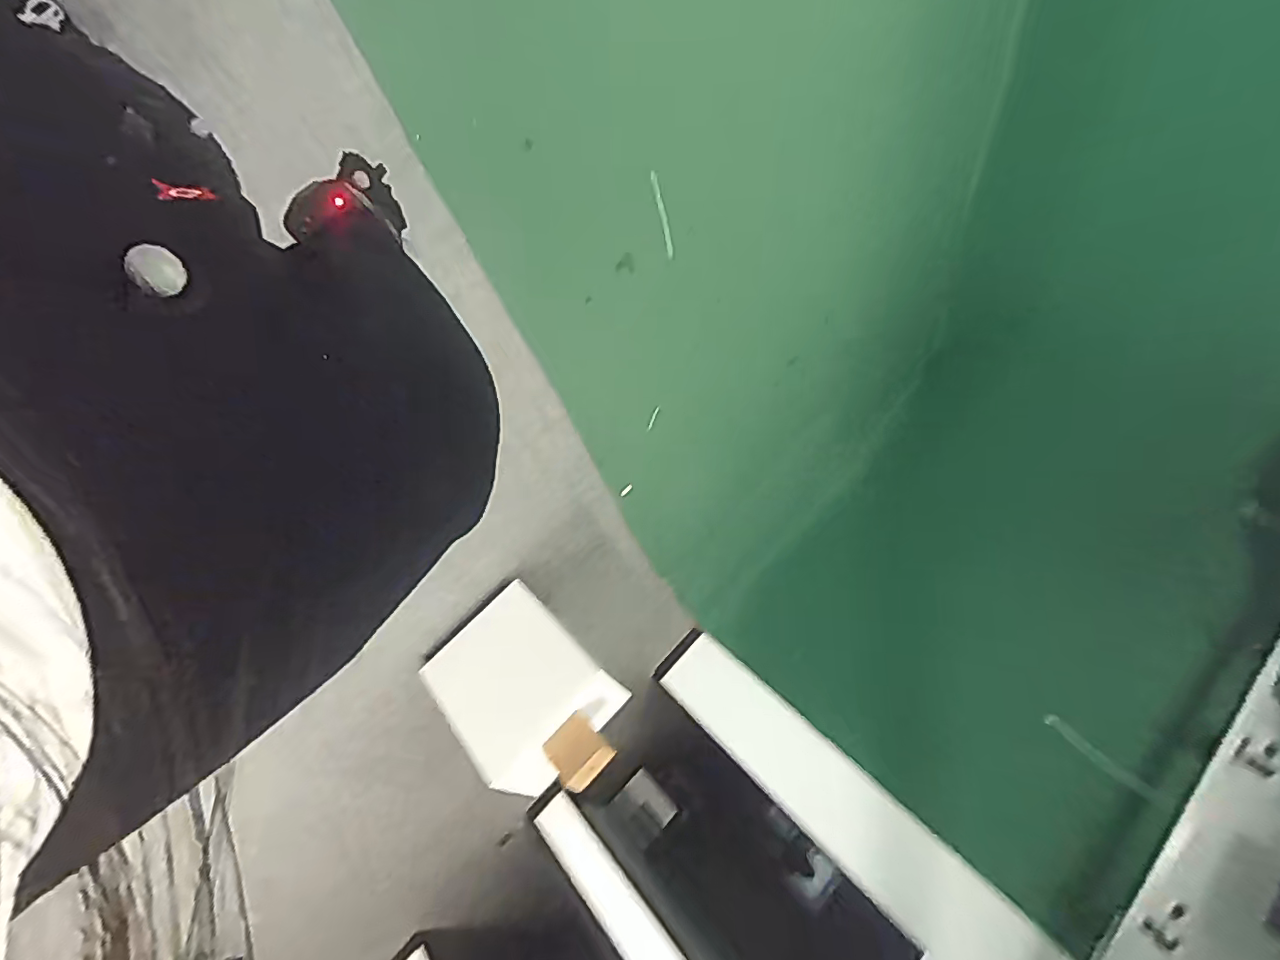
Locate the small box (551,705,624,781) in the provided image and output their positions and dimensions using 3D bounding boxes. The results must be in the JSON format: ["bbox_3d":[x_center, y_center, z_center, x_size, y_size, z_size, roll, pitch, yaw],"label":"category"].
[{"bbox_3d":[-0.191,0.947,1.955,0.179,0.176,0.168,-43,143,-13],"label":"small box"}]
